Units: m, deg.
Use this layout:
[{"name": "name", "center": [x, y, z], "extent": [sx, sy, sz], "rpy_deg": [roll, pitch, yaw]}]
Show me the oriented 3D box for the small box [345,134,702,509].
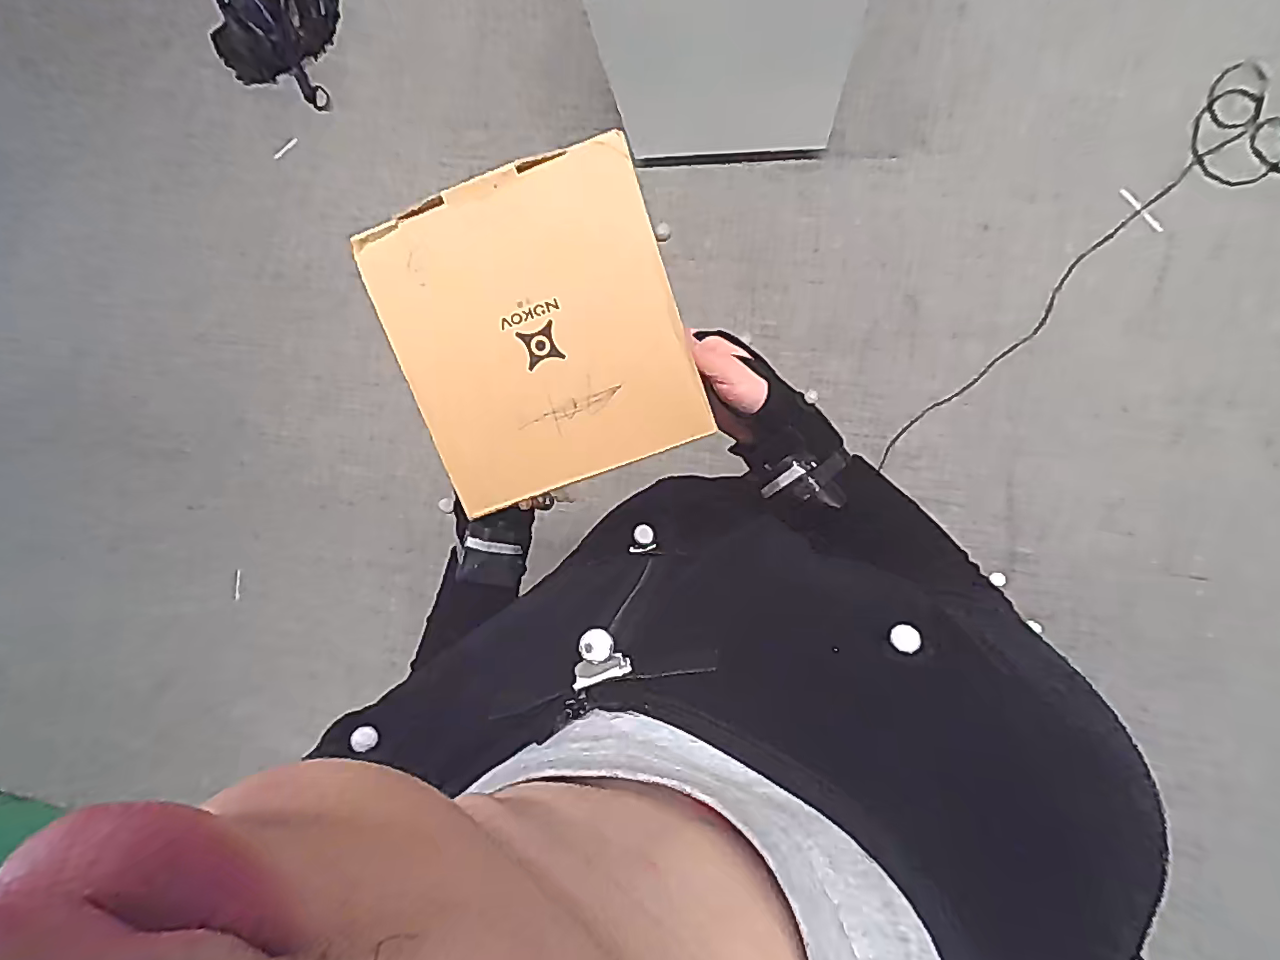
[{"name": "small box", "center": [-0.063, -0.103, 0.393], "extent": [0.168, 0.176, 0.179], "rpy_deg": [-18, 103, 7]}]
